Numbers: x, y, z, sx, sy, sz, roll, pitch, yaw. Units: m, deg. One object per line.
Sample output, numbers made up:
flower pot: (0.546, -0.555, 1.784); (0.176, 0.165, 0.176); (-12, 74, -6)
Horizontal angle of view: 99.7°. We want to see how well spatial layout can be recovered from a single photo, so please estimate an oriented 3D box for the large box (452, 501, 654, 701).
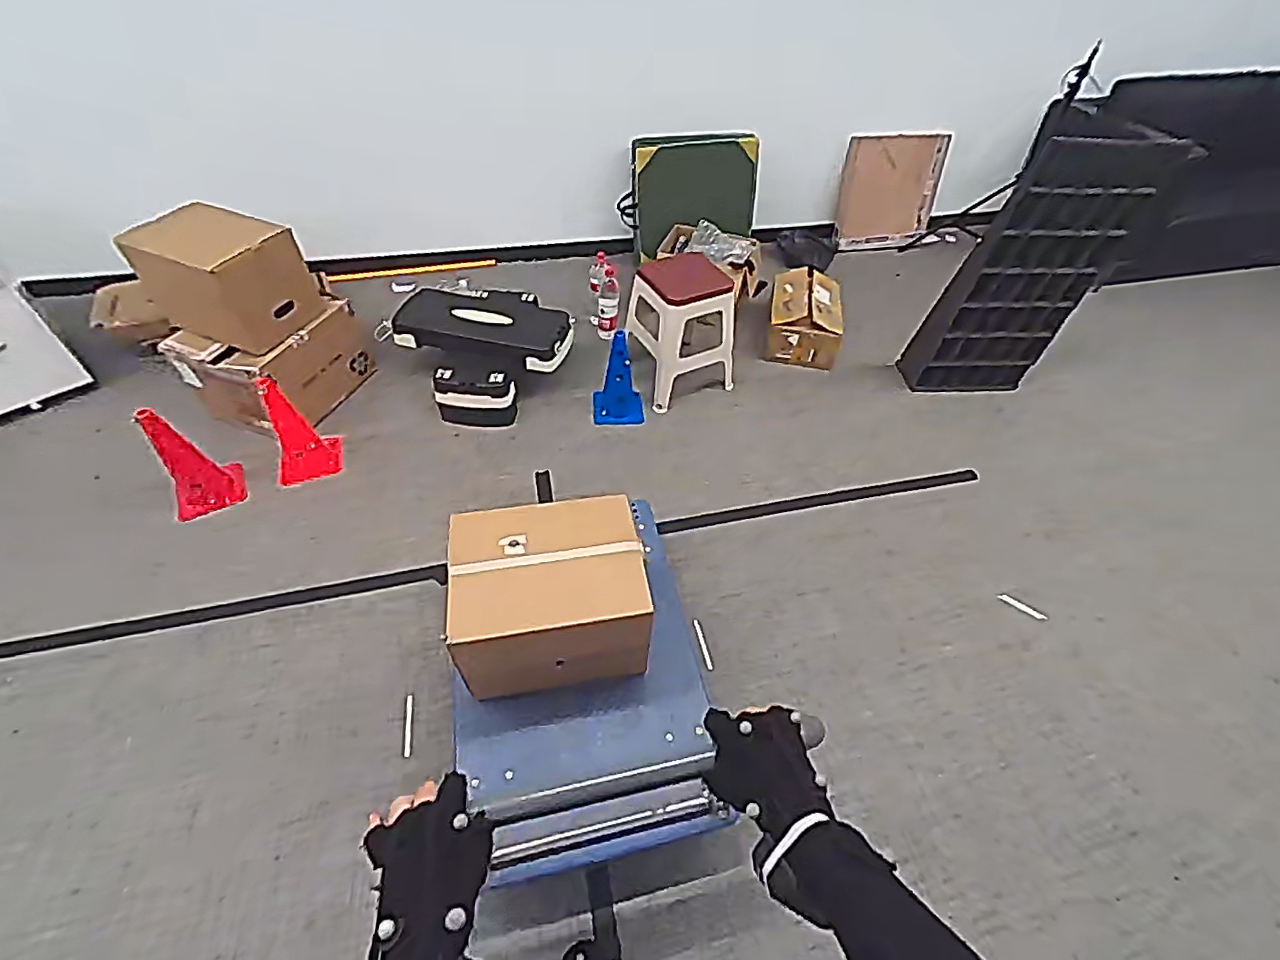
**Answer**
large box: (-0.198, 0.285, 1.271); (0.408, 0.320, 0.320); (-7, 49, -9)
